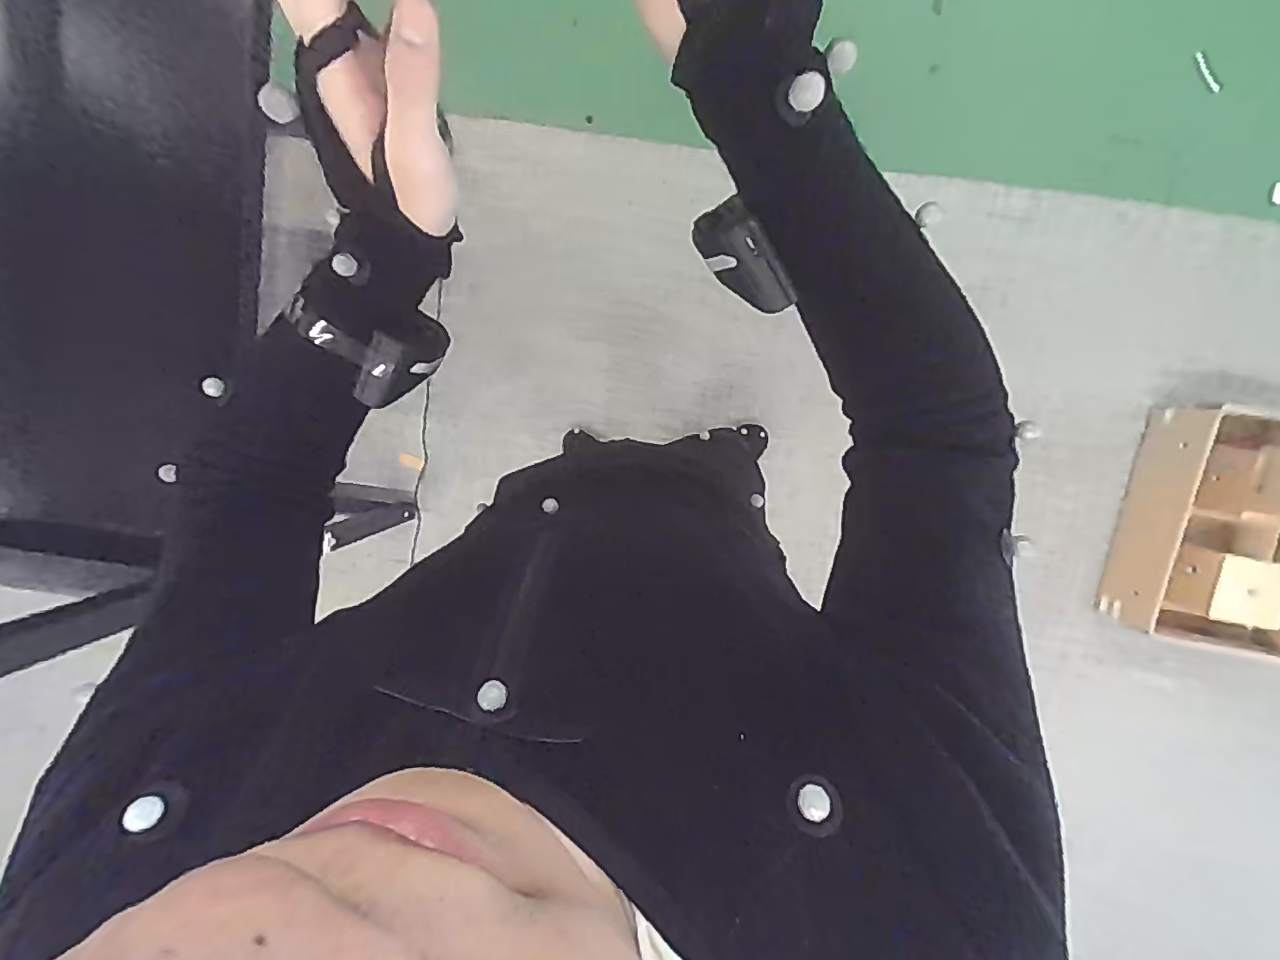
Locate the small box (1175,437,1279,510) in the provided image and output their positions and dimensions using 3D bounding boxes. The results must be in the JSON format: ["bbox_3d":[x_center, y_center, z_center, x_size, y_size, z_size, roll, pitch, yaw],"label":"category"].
[{"bbox_3d":[1.577,-0.020,1.416,0.179,0.176,0.168,9,98,2],"label":"small box"}]

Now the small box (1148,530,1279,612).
[{"bbox_3d":[1.533,0.237,1.451,0.179,0.176,0.168,9,96,2],"label":"small box"}]
